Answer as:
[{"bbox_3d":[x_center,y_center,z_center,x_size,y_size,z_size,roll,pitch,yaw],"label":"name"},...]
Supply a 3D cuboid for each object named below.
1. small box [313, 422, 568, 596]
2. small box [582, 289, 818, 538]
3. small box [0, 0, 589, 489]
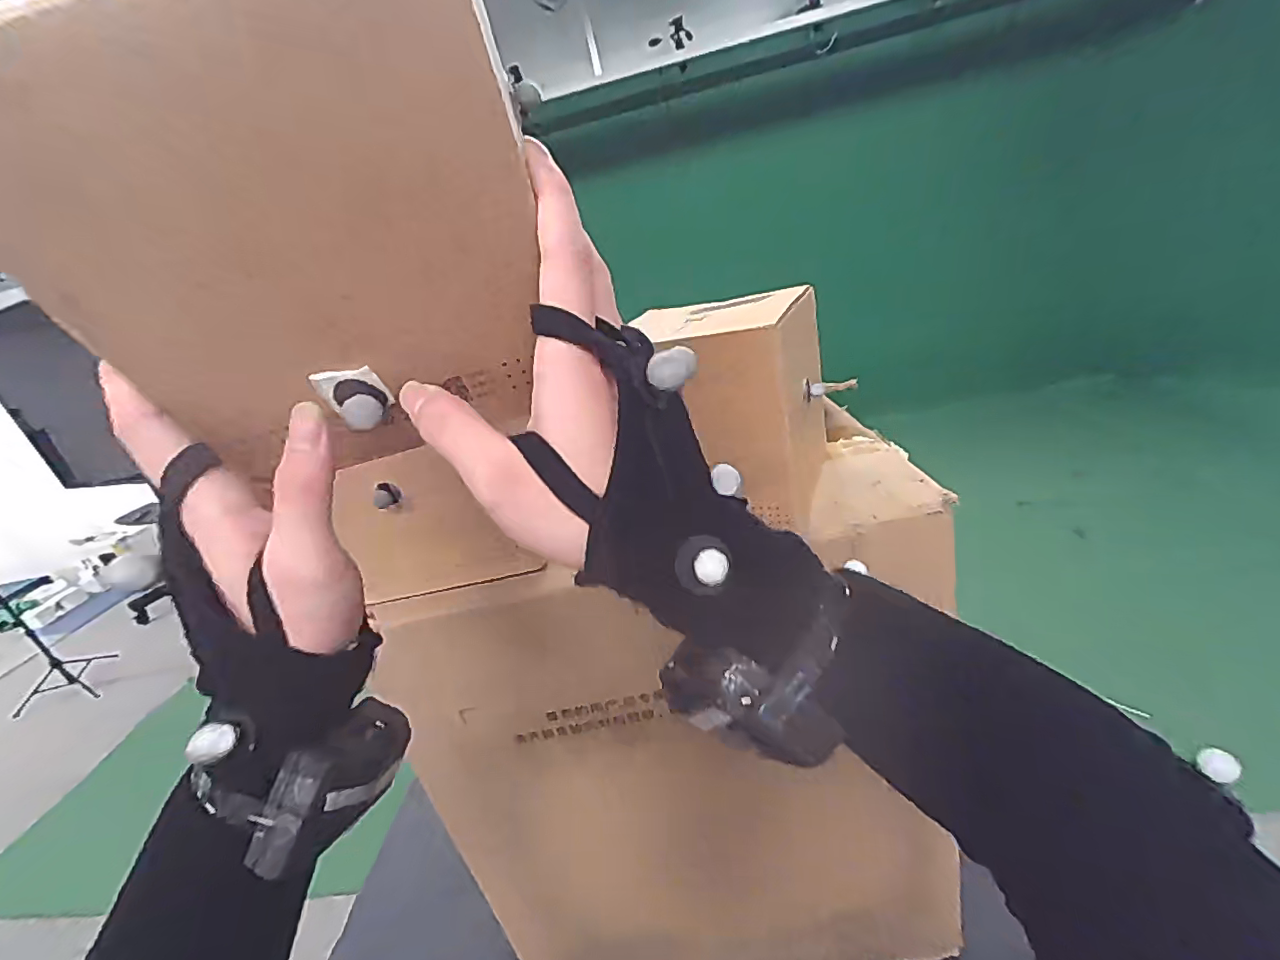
[{"bbox_3d":[-0.187,-0.010,0.525,0.179,0.176,0.168,-14,23,6],"label":"small box"},{"bbox_3d":[0.065,-0.064,0.498,0.168,0.176,0.179,-2,26,27],"label":"small box"},{"bbox_3d":[-0.133,-0.126,0.250,0.168,0.176,0.179,-18,52,-1],"label":"small box"}]
